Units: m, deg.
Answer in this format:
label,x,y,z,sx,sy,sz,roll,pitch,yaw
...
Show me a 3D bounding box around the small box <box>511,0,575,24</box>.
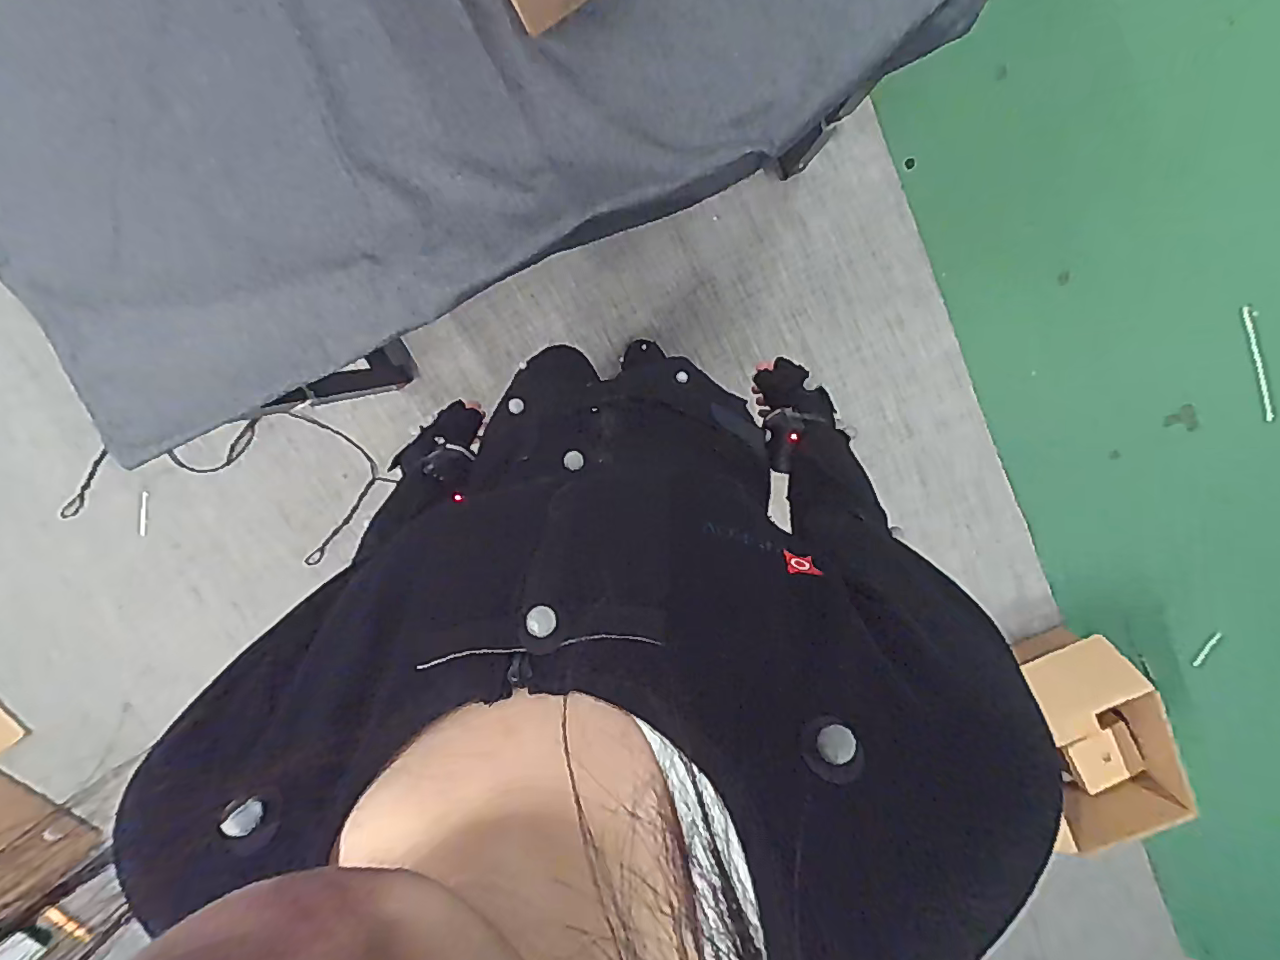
label,x,y,z,sx,sy,sz,roll,pitch,yaw
small box,-0.100,-0.595,0.502,0.168,0.176,0.179,-29,102,8
